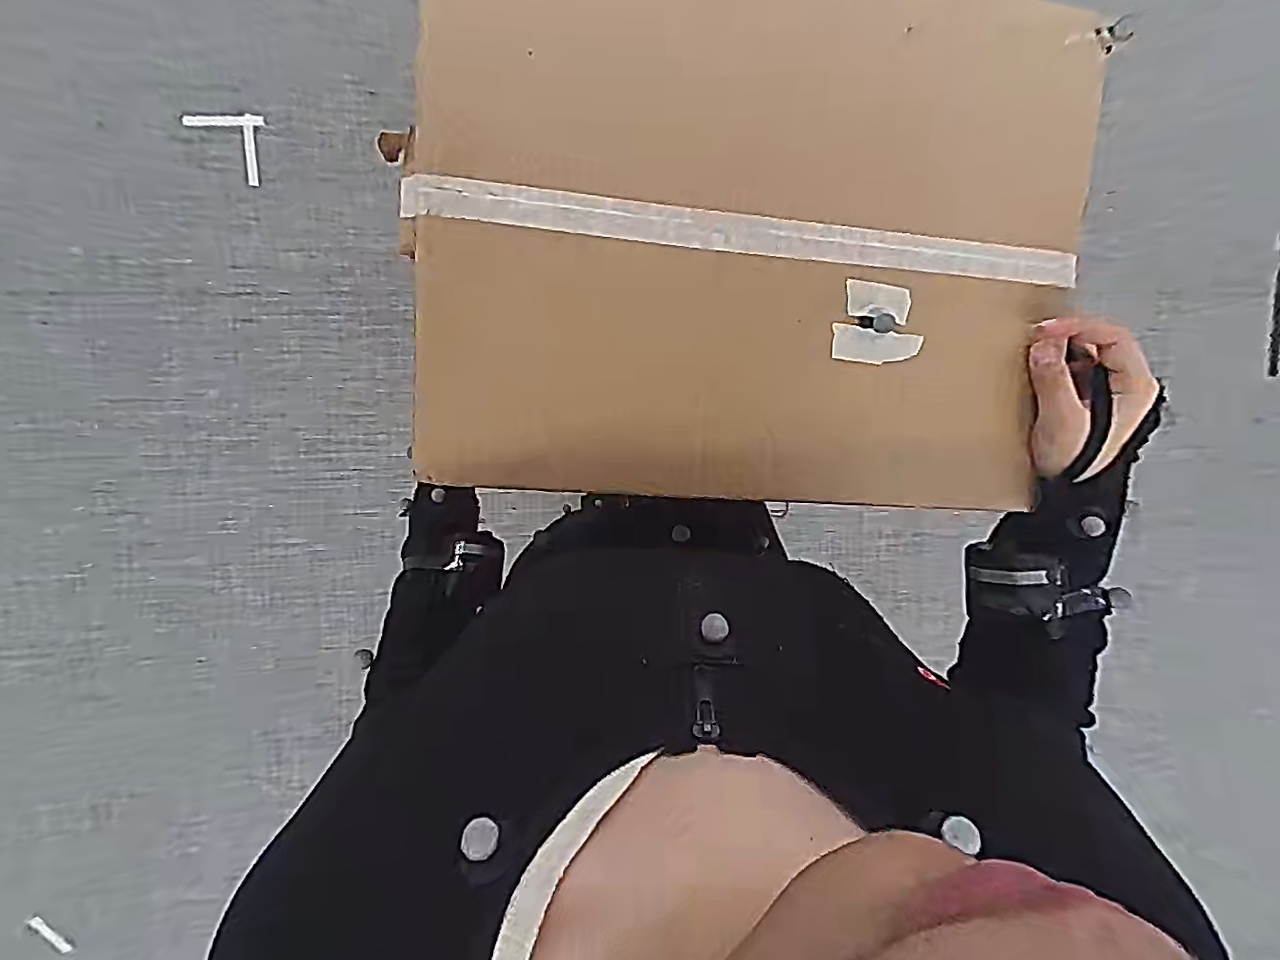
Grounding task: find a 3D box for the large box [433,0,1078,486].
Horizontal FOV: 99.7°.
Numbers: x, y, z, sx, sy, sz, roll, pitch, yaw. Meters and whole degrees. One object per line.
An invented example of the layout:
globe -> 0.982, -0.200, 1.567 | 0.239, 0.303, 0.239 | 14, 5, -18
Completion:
large box -> 0.056, -0.169, 0.476 | 0.408, 0.320, 0.320 | 3, 97, -10
